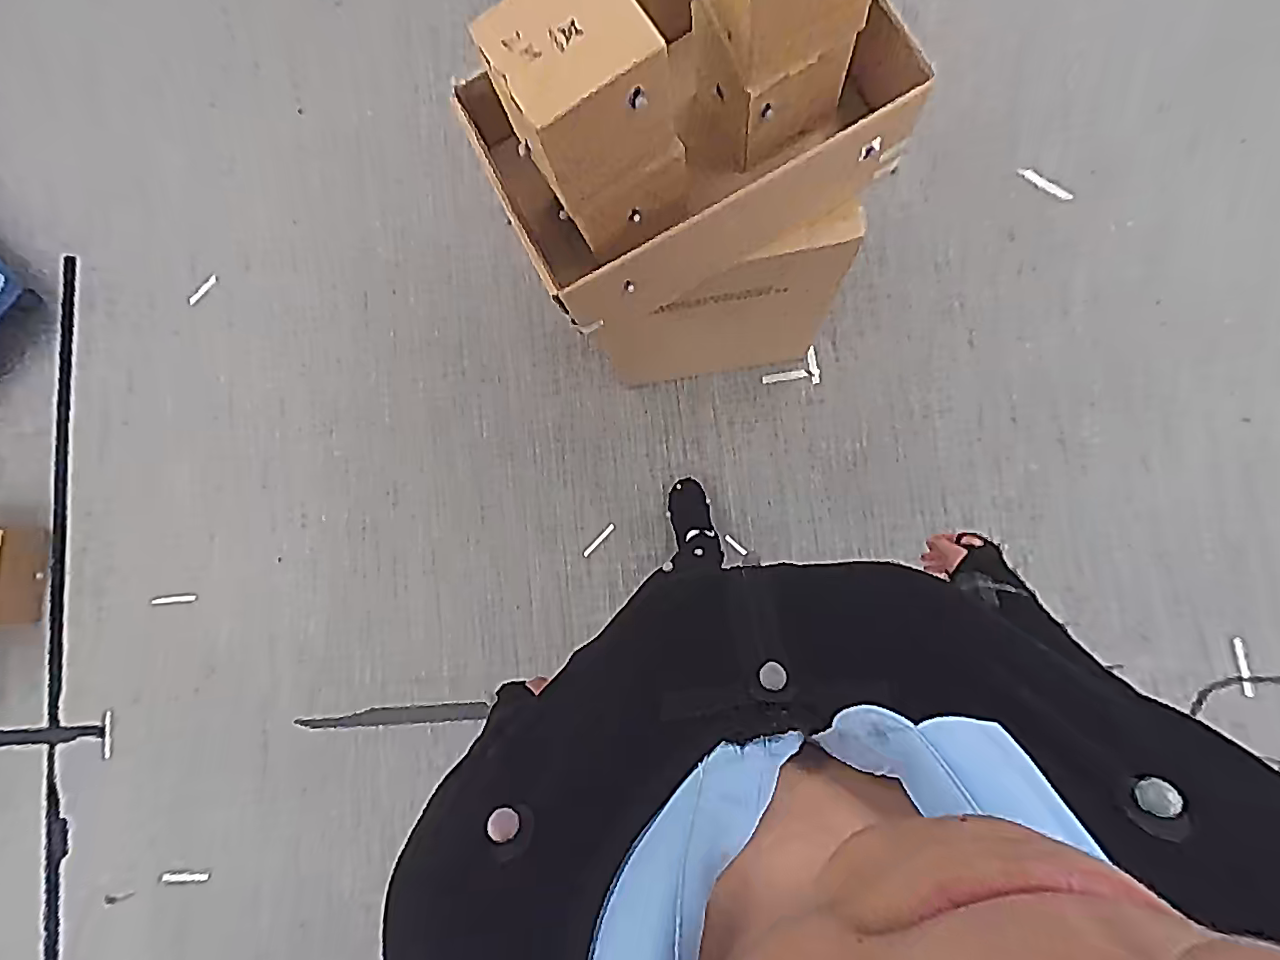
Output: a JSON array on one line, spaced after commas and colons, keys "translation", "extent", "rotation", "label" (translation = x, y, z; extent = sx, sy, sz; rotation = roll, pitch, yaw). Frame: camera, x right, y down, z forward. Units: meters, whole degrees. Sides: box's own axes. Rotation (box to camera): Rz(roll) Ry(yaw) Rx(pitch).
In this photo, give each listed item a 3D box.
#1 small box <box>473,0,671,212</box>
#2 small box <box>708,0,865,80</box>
[{"translation": [-0.072, -0.491, 0.689], "extent": [0.179, 0.176, 0.168], "rotation": [-32, 81, 3], "label": "small box"}, {"translation": [0.182, -0.657, 0.673], "extent": [0.179, 0.176, 0.168], "rotation": [-23, 82, 5], "label": "small box"}]
